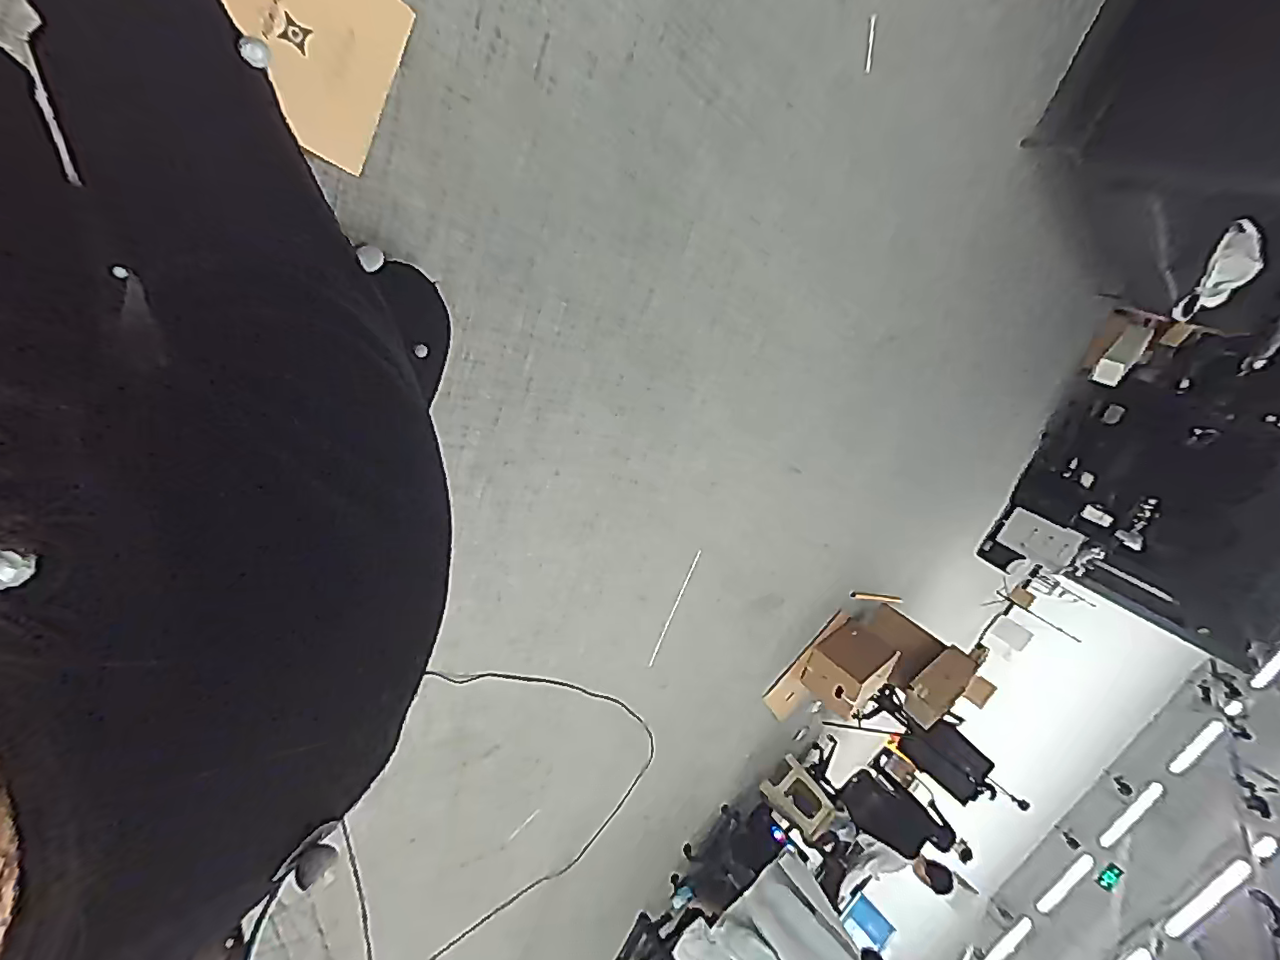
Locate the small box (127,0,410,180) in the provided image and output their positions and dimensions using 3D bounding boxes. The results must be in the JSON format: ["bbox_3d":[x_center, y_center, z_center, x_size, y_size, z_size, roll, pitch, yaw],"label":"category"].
[{"bbox_3d":[-0.365,-0.428,0.528,0.179,0.176,0.168,14,109,-50],"label":"small box"}]
